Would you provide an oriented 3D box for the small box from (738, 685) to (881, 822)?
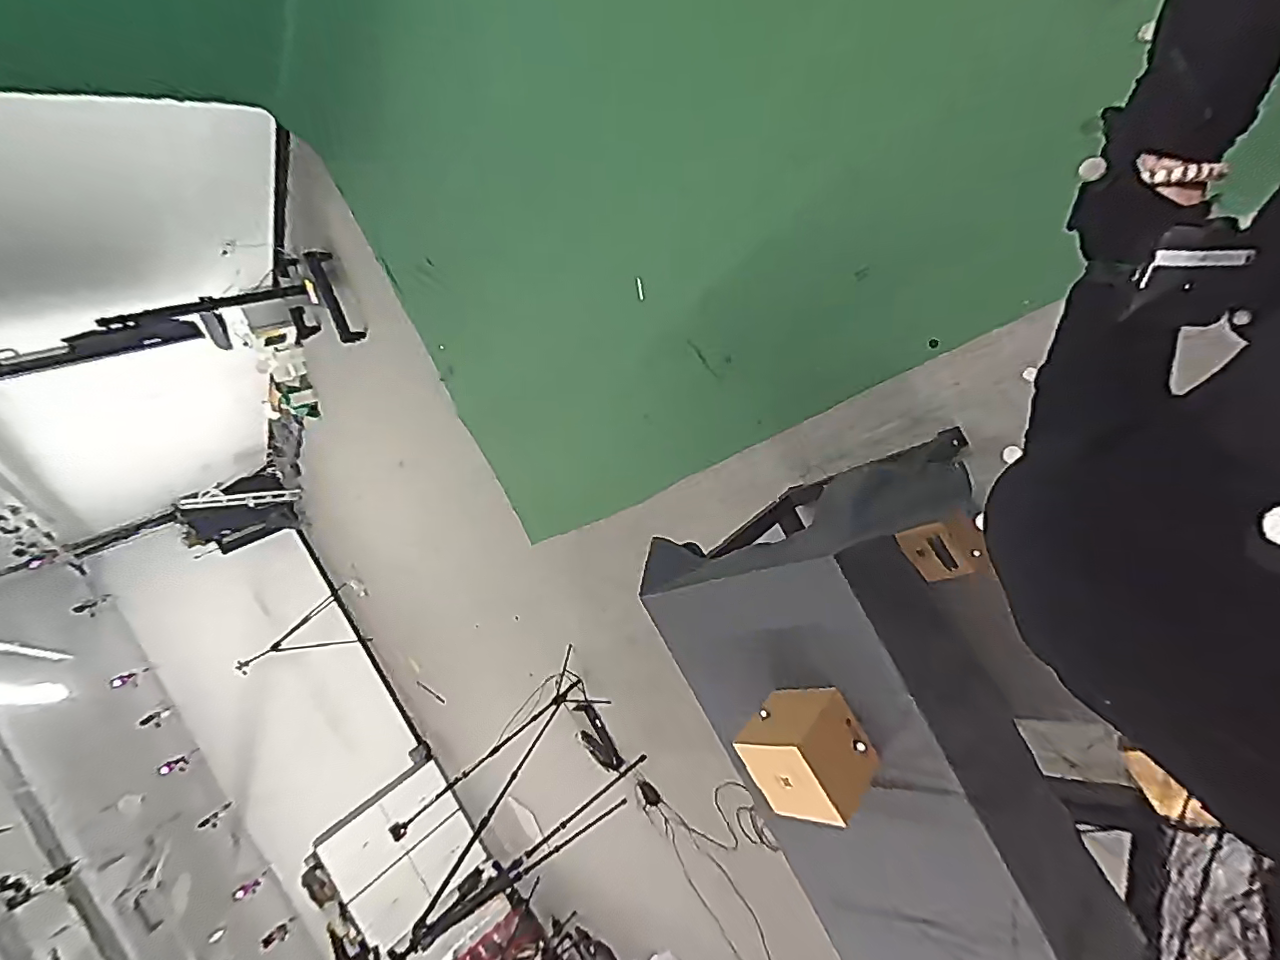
[{"bbox_3d":[0.335,0.526,1.066,0.168,0.176,0.179,58,142,1],"label":"small box"}]
